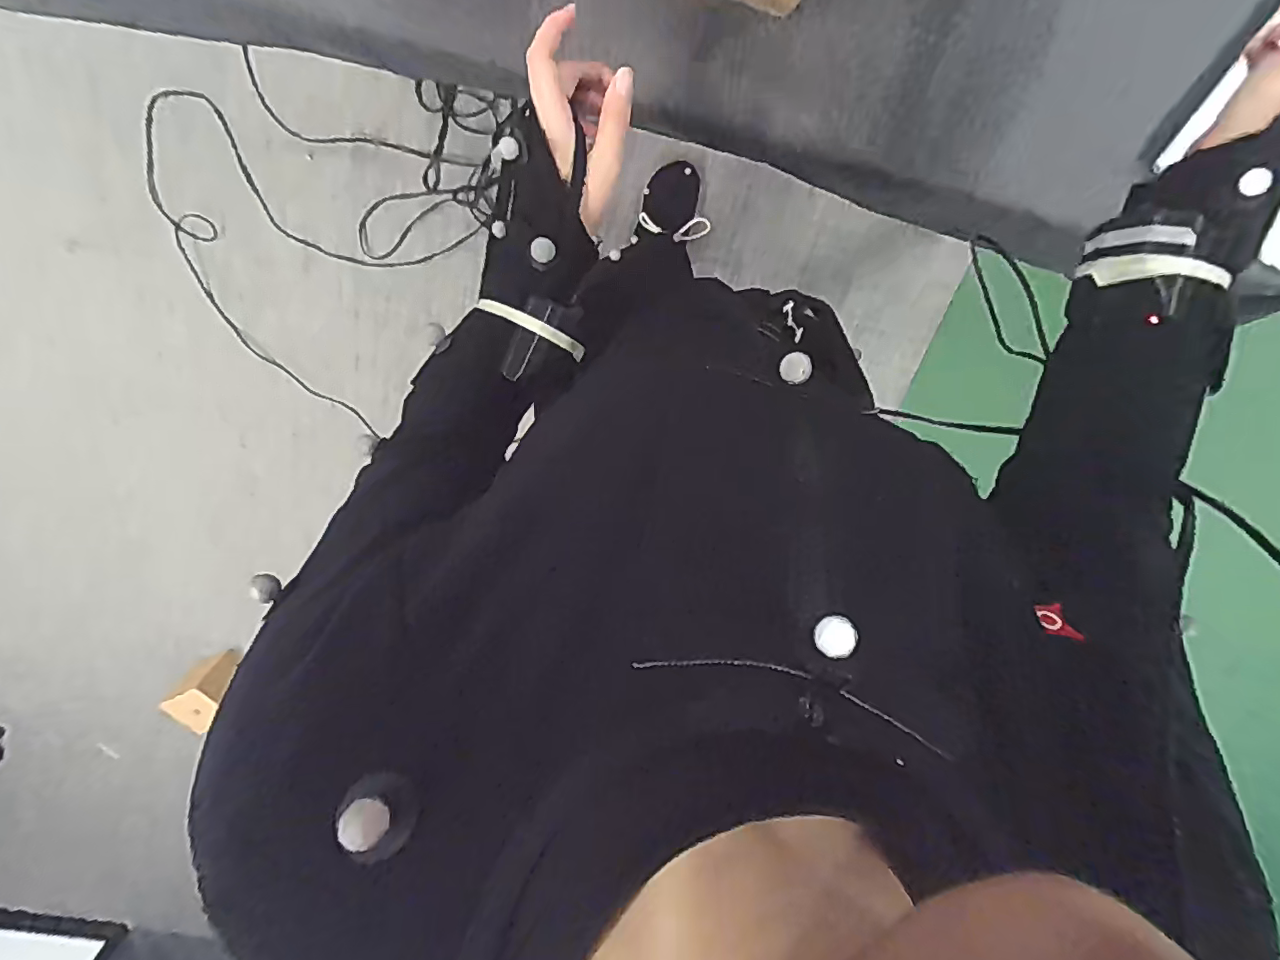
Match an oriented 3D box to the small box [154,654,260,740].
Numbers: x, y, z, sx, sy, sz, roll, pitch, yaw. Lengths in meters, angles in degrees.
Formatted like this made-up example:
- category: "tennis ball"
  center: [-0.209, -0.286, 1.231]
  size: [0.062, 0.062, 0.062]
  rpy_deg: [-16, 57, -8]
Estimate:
- category: "small box"
  center: [-1.403, 0.705, 1.767]
  size: [0.179, 0.176, 0.168]
  rpy_deg: [-27, 116, 14]
